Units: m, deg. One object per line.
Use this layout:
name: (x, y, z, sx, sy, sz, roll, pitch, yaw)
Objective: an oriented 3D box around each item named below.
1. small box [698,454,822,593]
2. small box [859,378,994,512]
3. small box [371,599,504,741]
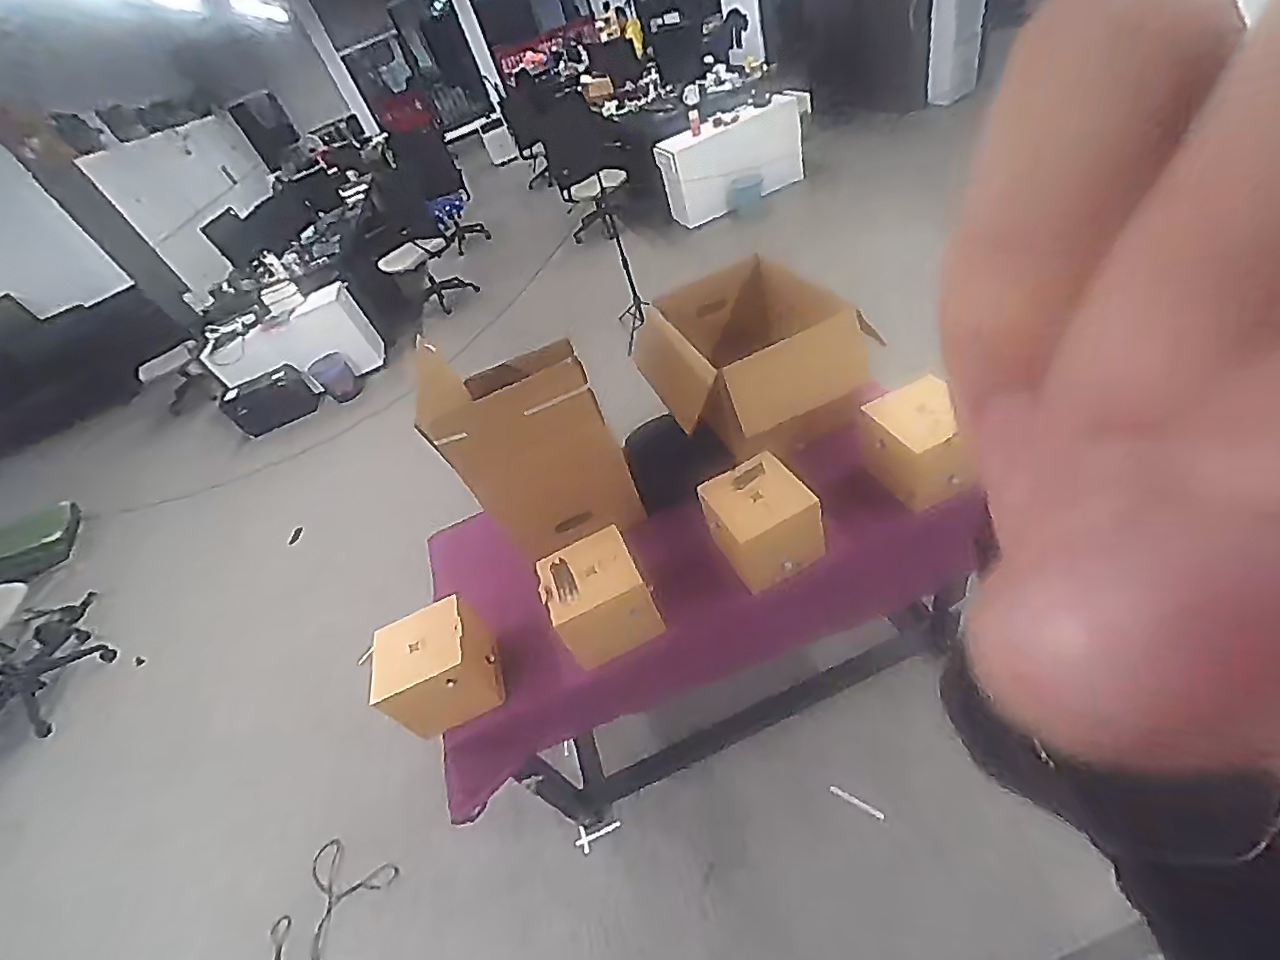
small box: (0.237, 0.087, 1.063, 0.168, 0.176, 0.179, -28, 42, -5)
small box: (0.561, -0.069, 1.079, 0.168, 0.176, 0.179, -26, 41, -1)
small box: (-0.386, 0.370, 1.045, 0.179, 0.176, 0.168, -25, 41, -4)
